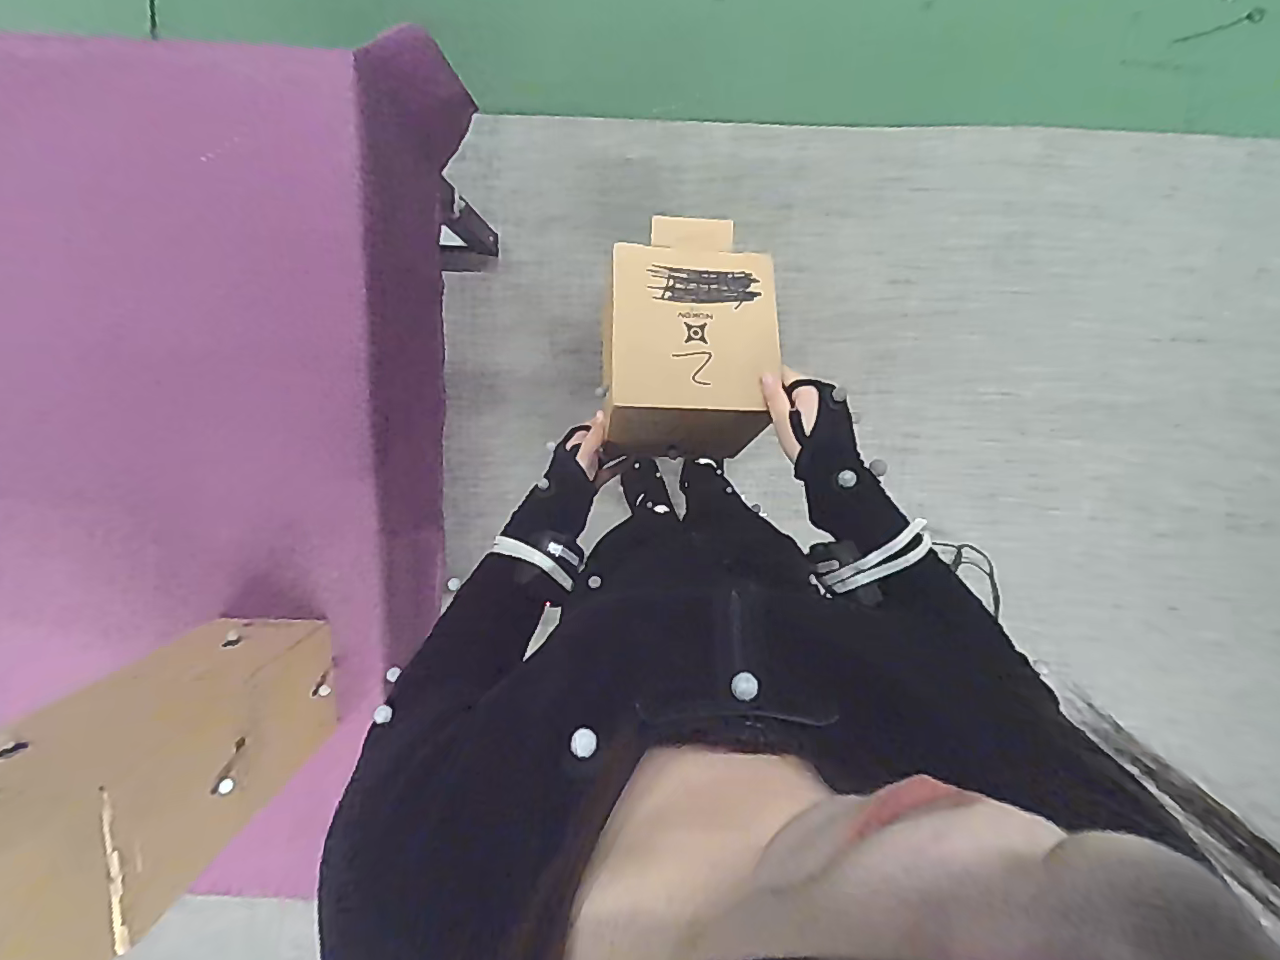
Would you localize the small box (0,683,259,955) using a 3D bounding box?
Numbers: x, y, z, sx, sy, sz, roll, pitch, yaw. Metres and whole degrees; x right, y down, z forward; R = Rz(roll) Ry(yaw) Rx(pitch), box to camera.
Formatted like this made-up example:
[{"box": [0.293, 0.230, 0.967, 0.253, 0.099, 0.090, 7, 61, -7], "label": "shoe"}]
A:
[{"box": [-0.532, 0.324, 0.547, 0.179, 0.176, 0.168, 2, 99, 0], "label": "small box"}]

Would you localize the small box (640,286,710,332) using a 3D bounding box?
[{"box": [0.092, -0.466, 1.328, 0.168, 0.176, 0.179, 6, 98, -1], "label": "small box"}]

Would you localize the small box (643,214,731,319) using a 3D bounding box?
[{"box": [0.094, -0.449, 1.165, 0.168, 0.176, 0.179, 3, 98, -2], "label": "small box"}]

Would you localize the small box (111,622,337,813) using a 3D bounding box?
[{"box": [-0.526, 0.298, 0.710, 0.168, 0.176, 0.179, 0, 98, 1], "label": "small box"}]
